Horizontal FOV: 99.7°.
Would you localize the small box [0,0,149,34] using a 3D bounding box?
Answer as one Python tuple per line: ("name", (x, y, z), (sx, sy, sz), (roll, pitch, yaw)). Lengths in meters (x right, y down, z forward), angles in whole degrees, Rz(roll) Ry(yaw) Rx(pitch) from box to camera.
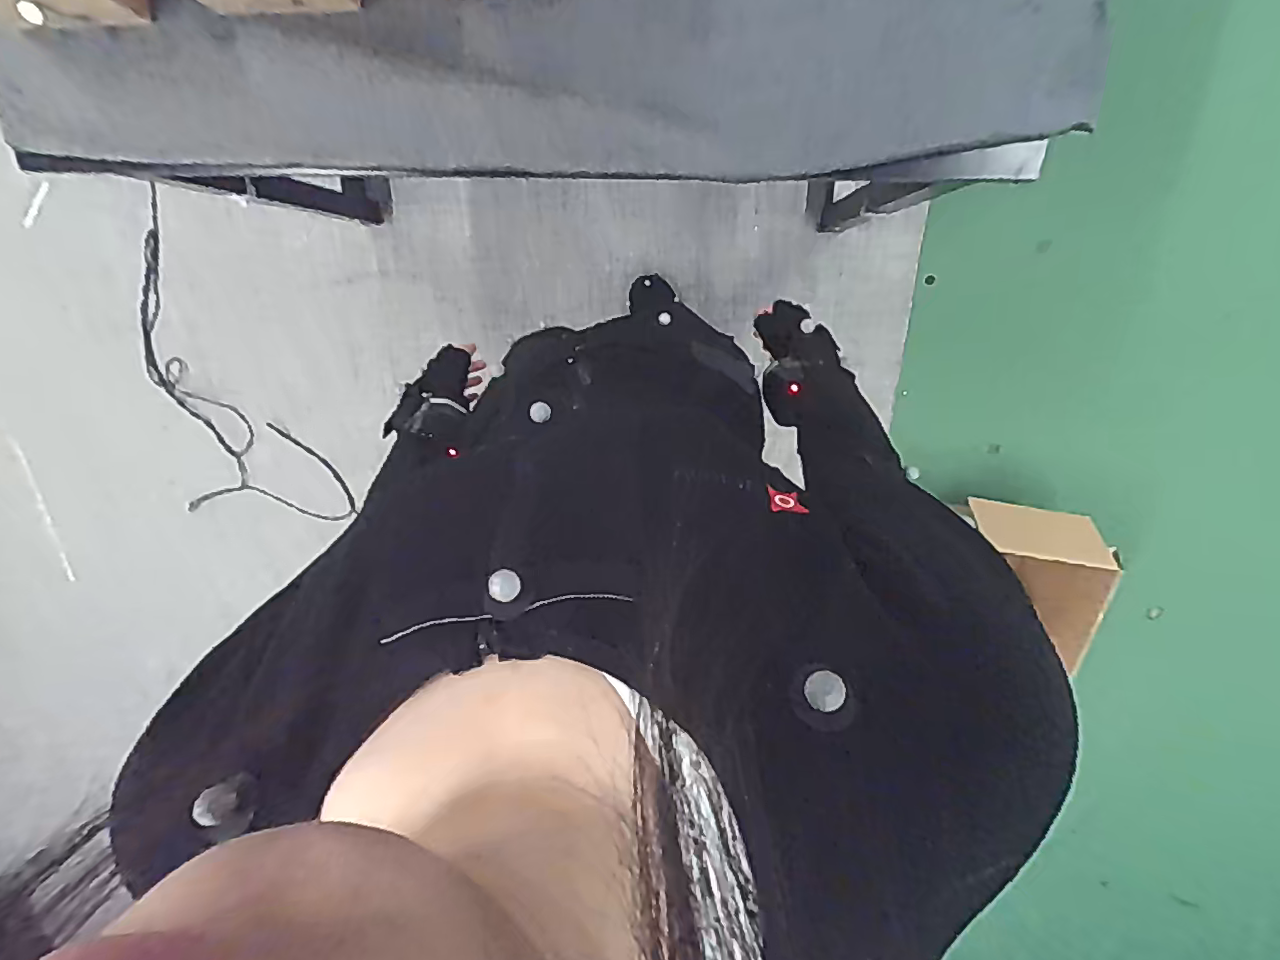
("small box", (-0.621, -0.557, 0.498), (0.168, 0.176, 0.179), (0, 108, 3))
